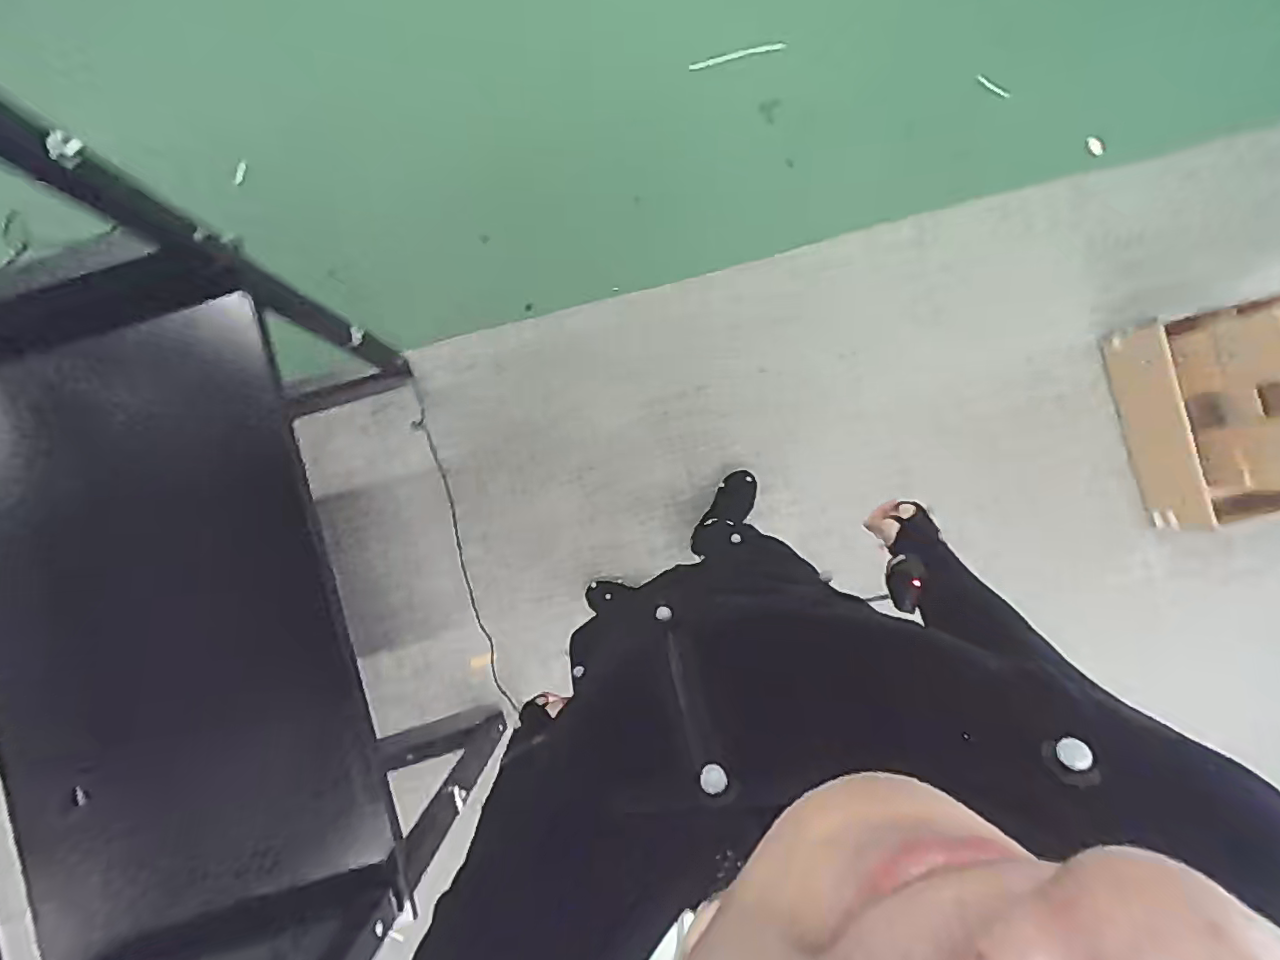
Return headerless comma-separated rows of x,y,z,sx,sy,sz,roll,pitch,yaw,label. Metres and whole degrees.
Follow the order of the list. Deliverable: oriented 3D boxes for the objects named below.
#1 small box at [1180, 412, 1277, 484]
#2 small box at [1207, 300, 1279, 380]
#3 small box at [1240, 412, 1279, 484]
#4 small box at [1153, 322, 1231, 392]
1.691,-0.086,1.525,0.179,0.176,0.168,-12,87,-1,small box
1.622,-0.364,1.375,0.168,0.176,0.179,-15,88,-2,small box
1.691,-0.096,1.360,0.168,0.176,0.179,-17,87,0,small box
1.623,-0.359,1.539,0.179,0.176,0.168,-14,88,-2,small box
